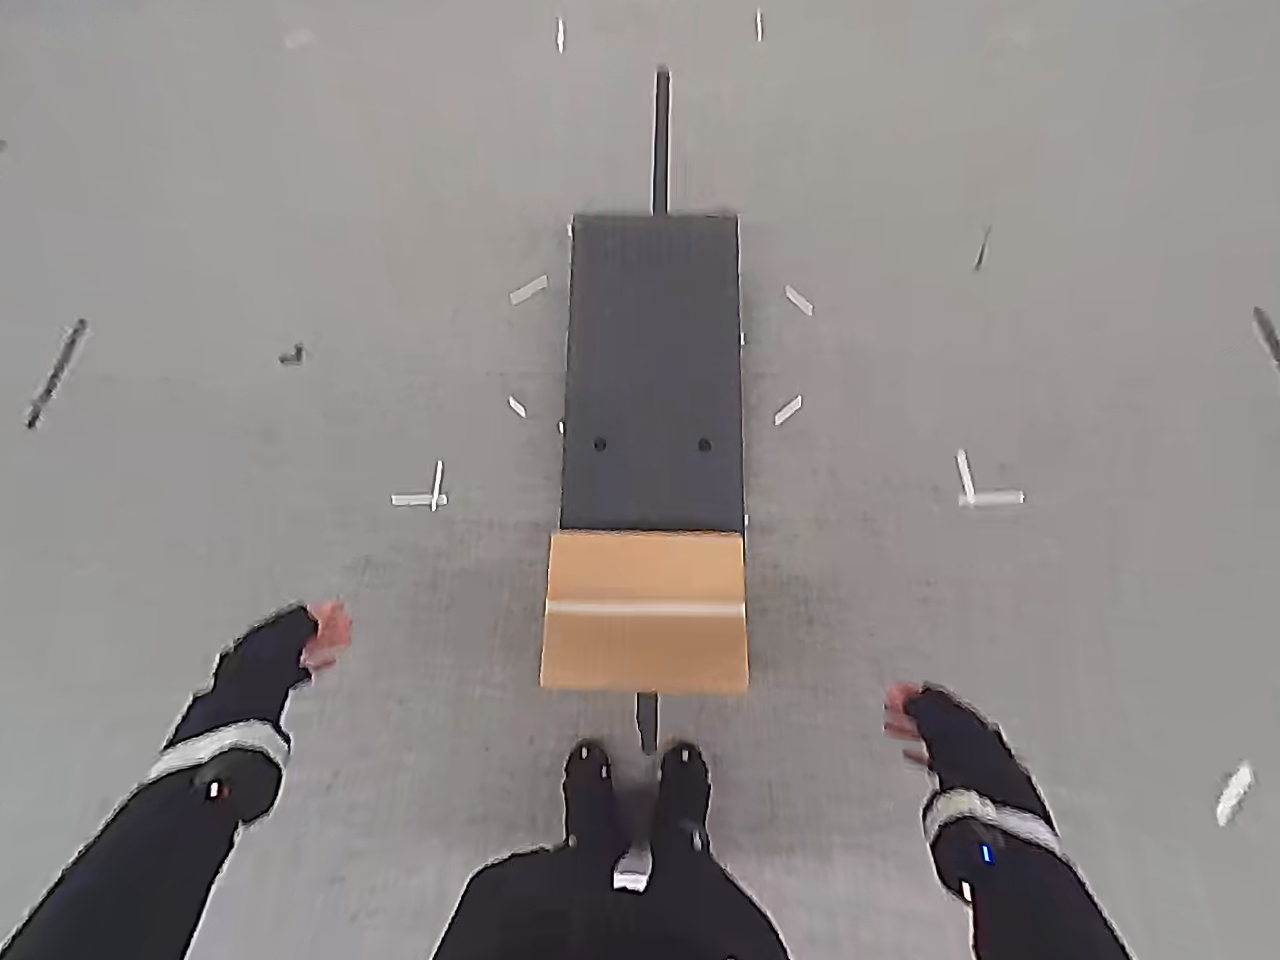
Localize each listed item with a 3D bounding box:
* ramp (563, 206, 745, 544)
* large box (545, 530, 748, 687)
[{"bbox_3d":[0.043,-0.315,1.522,0.509,0.206,0.991,-1,70,0],"label":"ramp"},{"bbox_3d":[0.019,0.303,1.240,0.408,0.320,0.320,1,69,2],"label":"large box"}]
